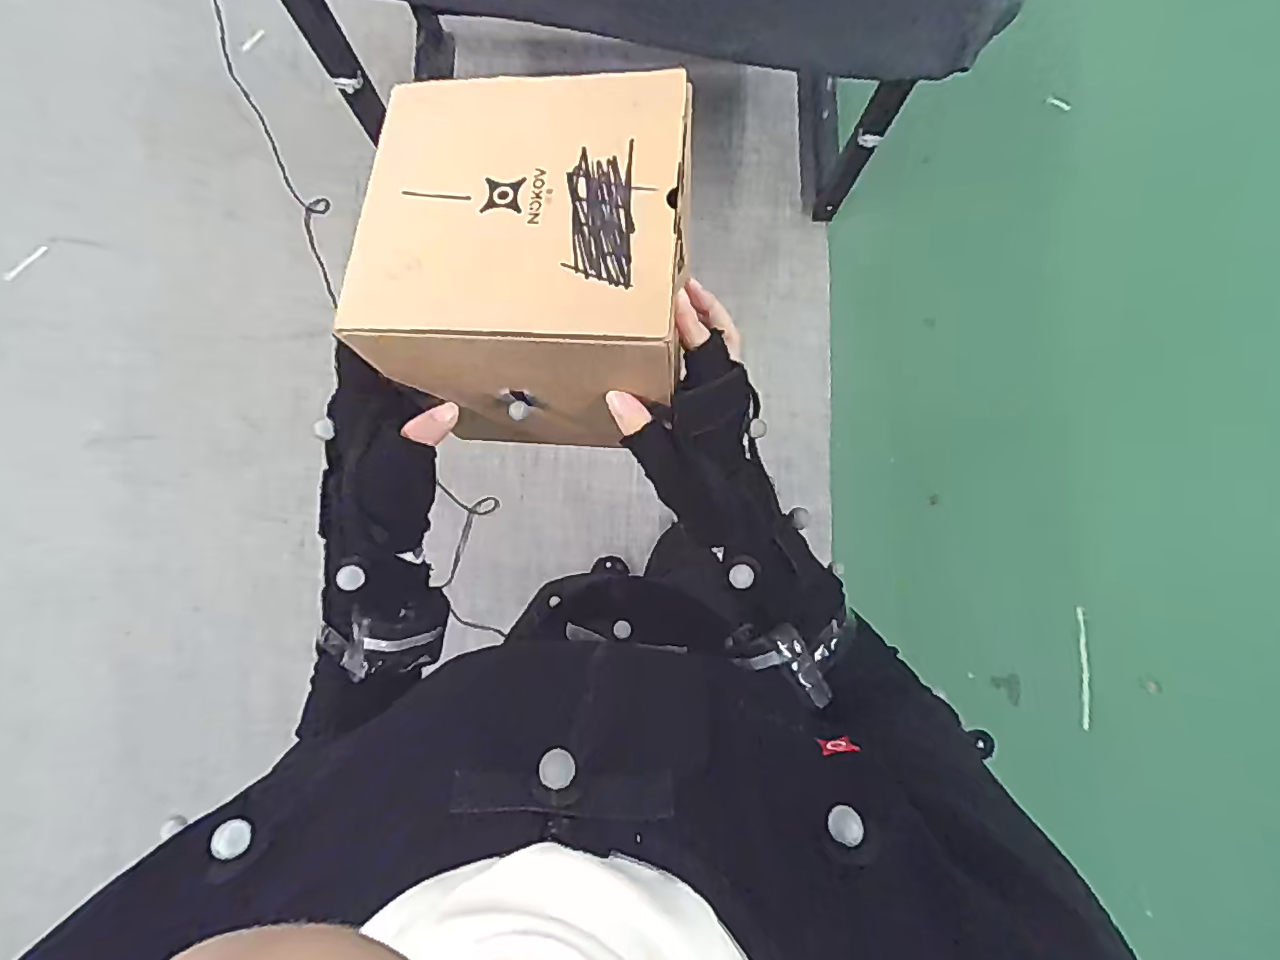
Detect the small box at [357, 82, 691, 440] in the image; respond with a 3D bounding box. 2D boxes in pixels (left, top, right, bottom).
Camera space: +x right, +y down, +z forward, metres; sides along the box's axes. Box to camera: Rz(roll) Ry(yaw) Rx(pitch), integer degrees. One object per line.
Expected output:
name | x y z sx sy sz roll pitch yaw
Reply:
small box | -0.057 -0.131 0.375 0.179 0.176 0.168 0 76 3
